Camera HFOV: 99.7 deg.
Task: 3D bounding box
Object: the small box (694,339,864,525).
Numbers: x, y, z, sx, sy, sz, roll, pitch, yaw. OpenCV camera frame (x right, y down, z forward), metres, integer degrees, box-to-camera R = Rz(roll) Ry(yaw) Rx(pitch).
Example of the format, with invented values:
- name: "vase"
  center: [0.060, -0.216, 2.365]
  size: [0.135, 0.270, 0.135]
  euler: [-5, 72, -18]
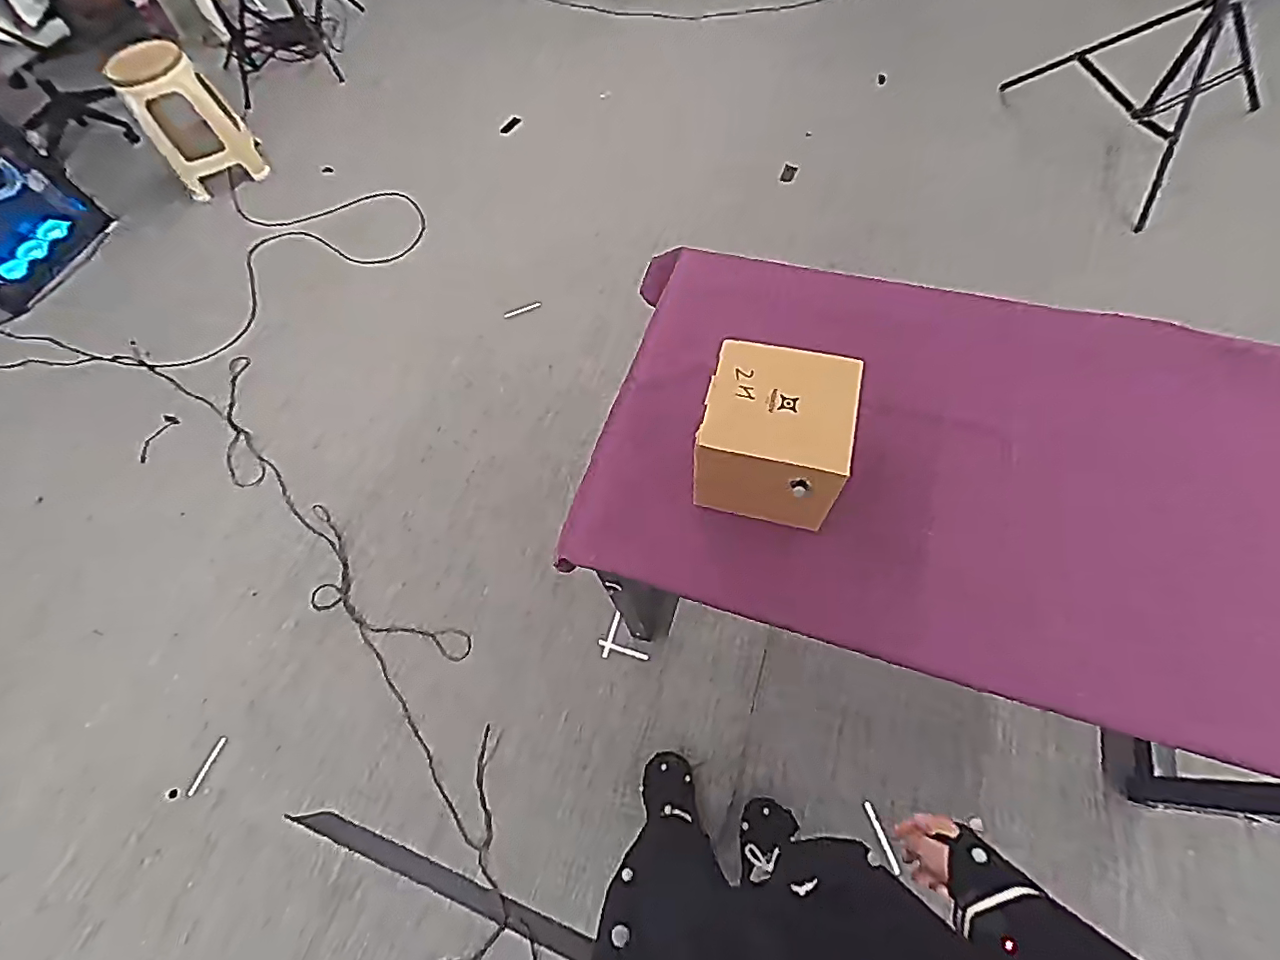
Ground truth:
- name: "small box"
  center: [0.175, -0.055, 0.712]
  size: [0.179, 0.176, 0.168]
  euler: [12, 64, 11]
